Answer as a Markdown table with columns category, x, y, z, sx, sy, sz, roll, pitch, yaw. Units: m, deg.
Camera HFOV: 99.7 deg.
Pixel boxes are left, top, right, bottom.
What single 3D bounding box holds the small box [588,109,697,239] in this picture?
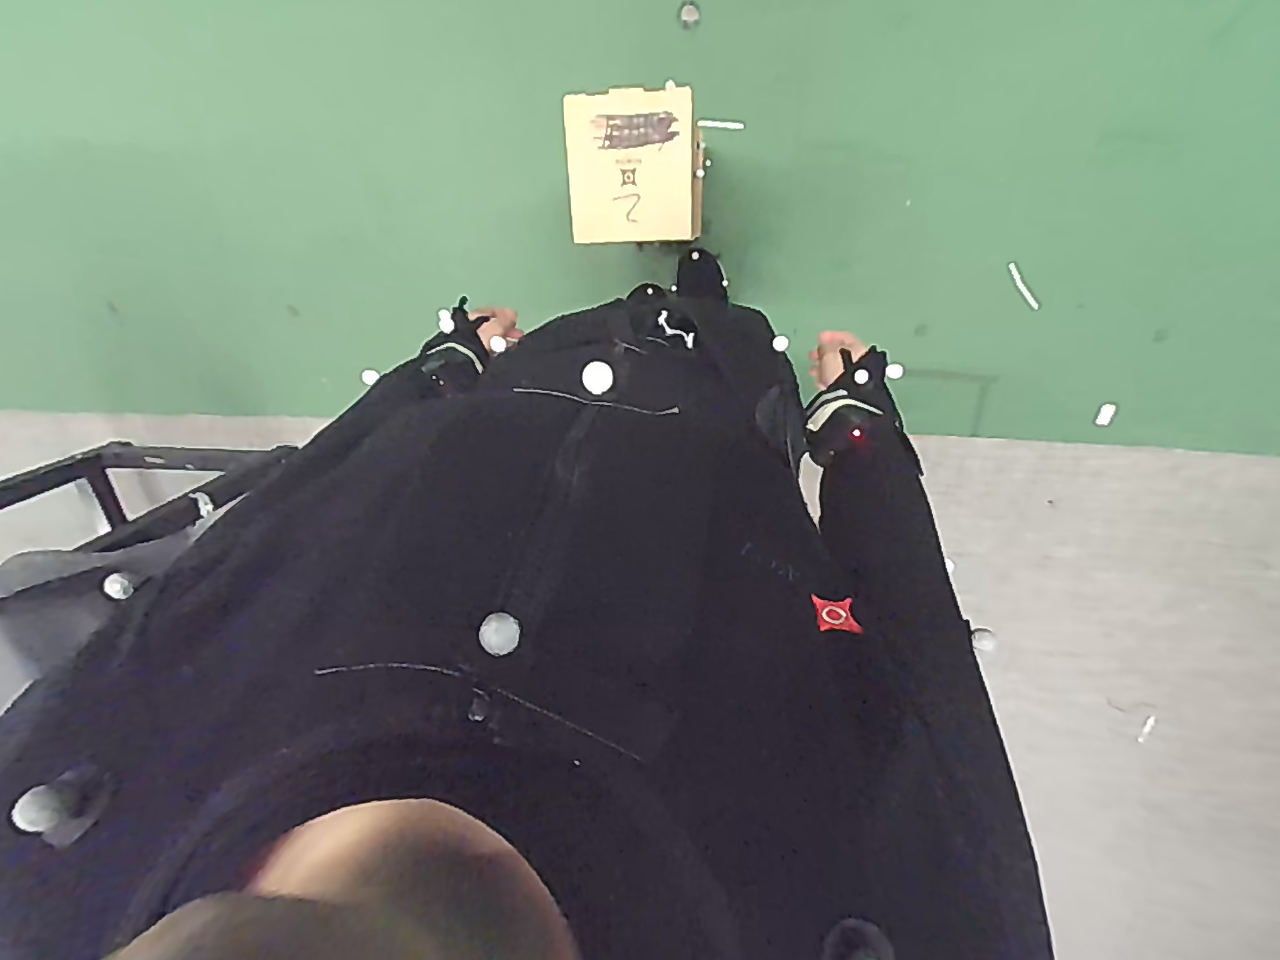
| category | x | y | z | sx | sy | sz | roll | pitch | yaw |
| --- | --- | --- | --- | --- | --- | --- | --- | --- | --- |
| small box | 0.012 | -0.513 | 0.926 | 0.168 | 0.176 | 0.179 | 1 | 114 | 7 |

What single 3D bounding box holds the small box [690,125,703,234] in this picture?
| category | x | y | z | sx | sy | sz | roll | pitch | yaw |
| --- | --- | --- | --- | --- | --- | --- | --- | --- | --- |
| small box | 0.038 | -0.584 | 1.070 | 0.168 | 0.176 | 0.179 | 2 | 116 | 6 |
